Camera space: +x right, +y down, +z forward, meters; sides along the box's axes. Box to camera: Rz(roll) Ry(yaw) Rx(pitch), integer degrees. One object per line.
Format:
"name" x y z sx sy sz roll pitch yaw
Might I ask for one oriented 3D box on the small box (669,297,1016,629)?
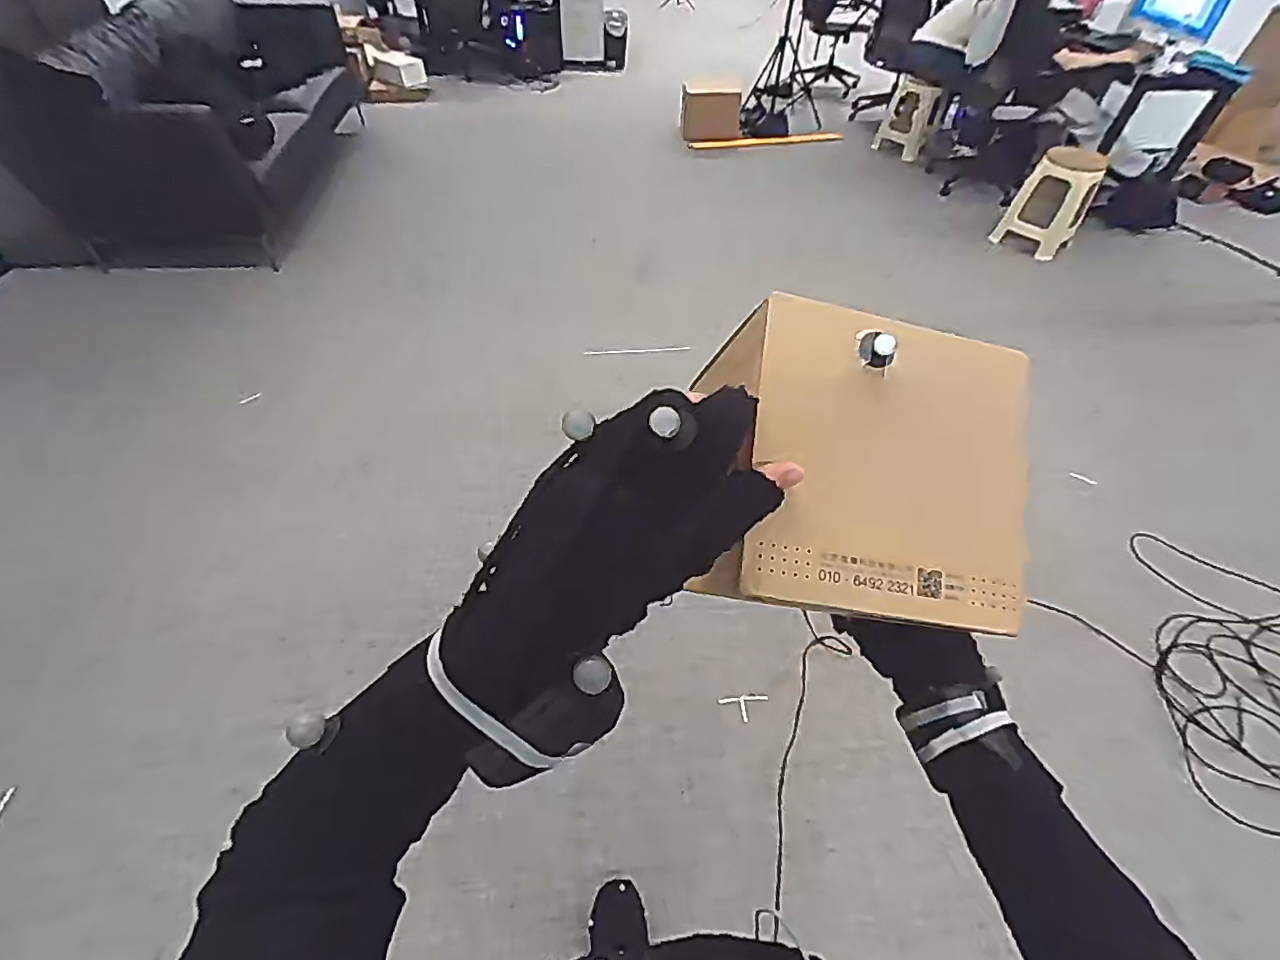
"small box" 0.124 0.003 0.385 0.168 0.179 0.176 10 79 -8
